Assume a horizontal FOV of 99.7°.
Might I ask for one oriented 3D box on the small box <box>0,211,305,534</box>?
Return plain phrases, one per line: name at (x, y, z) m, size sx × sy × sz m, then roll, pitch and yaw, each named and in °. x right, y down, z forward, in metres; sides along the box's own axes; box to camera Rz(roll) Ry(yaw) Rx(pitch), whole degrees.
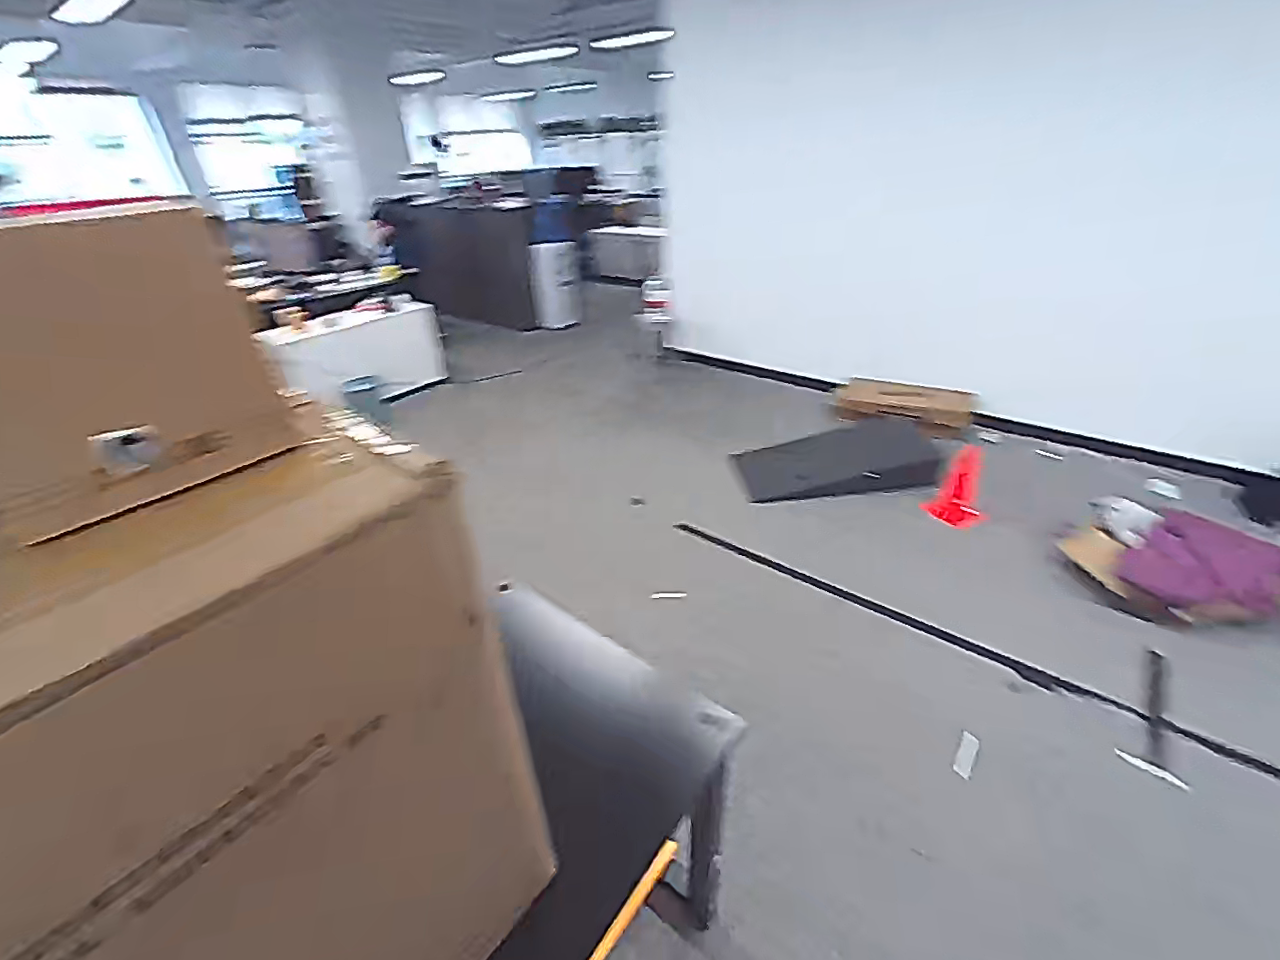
small box at (-0.381, -0.087, 0.382) m, size 0.179 × 0.176 × 0.168 m, roll 21°, pitch 41°, yaw 34°
